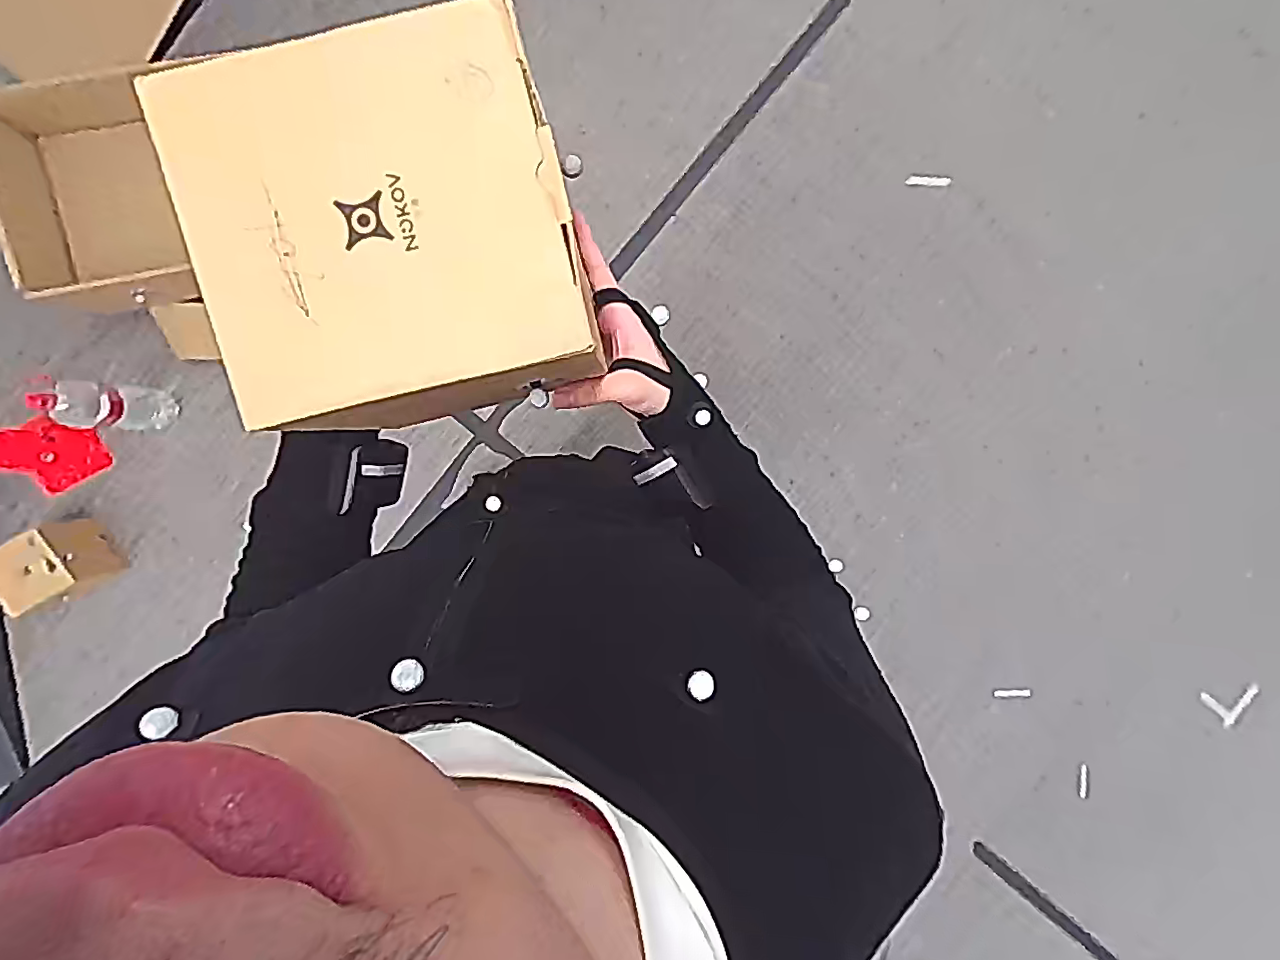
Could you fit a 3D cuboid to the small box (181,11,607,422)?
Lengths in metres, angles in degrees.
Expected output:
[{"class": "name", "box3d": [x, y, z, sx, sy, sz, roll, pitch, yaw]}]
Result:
[{"class": "small box", "box3d": [-0.121, -0.135, 0.346, 0.179, 0.176, 0.168, -13, 95, 1]}]
